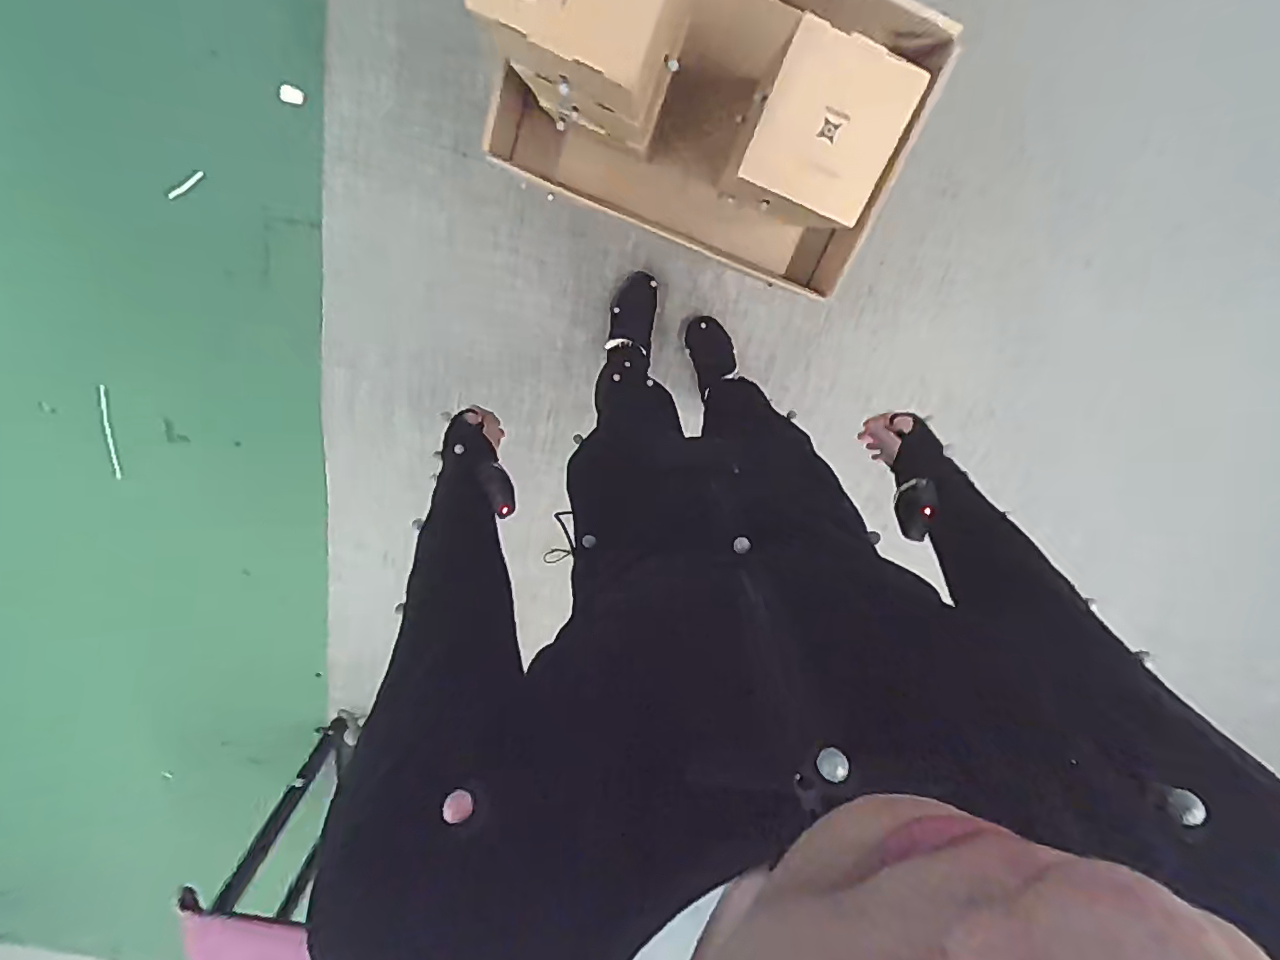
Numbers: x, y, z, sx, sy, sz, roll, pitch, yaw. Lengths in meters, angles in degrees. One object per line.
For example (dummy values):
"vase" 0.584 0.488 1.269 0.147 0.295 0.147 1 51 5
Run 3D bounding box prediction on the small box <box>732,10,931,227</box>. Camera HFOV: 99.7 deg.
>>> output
"small box" 0.233 -0.457 0.718 0.168 0.176 0.179 22 114 -7

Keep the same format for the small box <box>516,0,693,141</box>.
"small box" -0.038 -0.564 0.681 0.168 0.176 0.179 21 114 -8

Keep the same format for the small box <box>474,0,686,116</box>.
"small box" -0.042 -0.498 0.529 0.168 0.176 0.179 22 114 -8

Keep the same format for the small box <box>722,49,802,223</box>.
"small box" 0.240 -0.528 0.864 0.168 0.176 0.179 21 113 -7
